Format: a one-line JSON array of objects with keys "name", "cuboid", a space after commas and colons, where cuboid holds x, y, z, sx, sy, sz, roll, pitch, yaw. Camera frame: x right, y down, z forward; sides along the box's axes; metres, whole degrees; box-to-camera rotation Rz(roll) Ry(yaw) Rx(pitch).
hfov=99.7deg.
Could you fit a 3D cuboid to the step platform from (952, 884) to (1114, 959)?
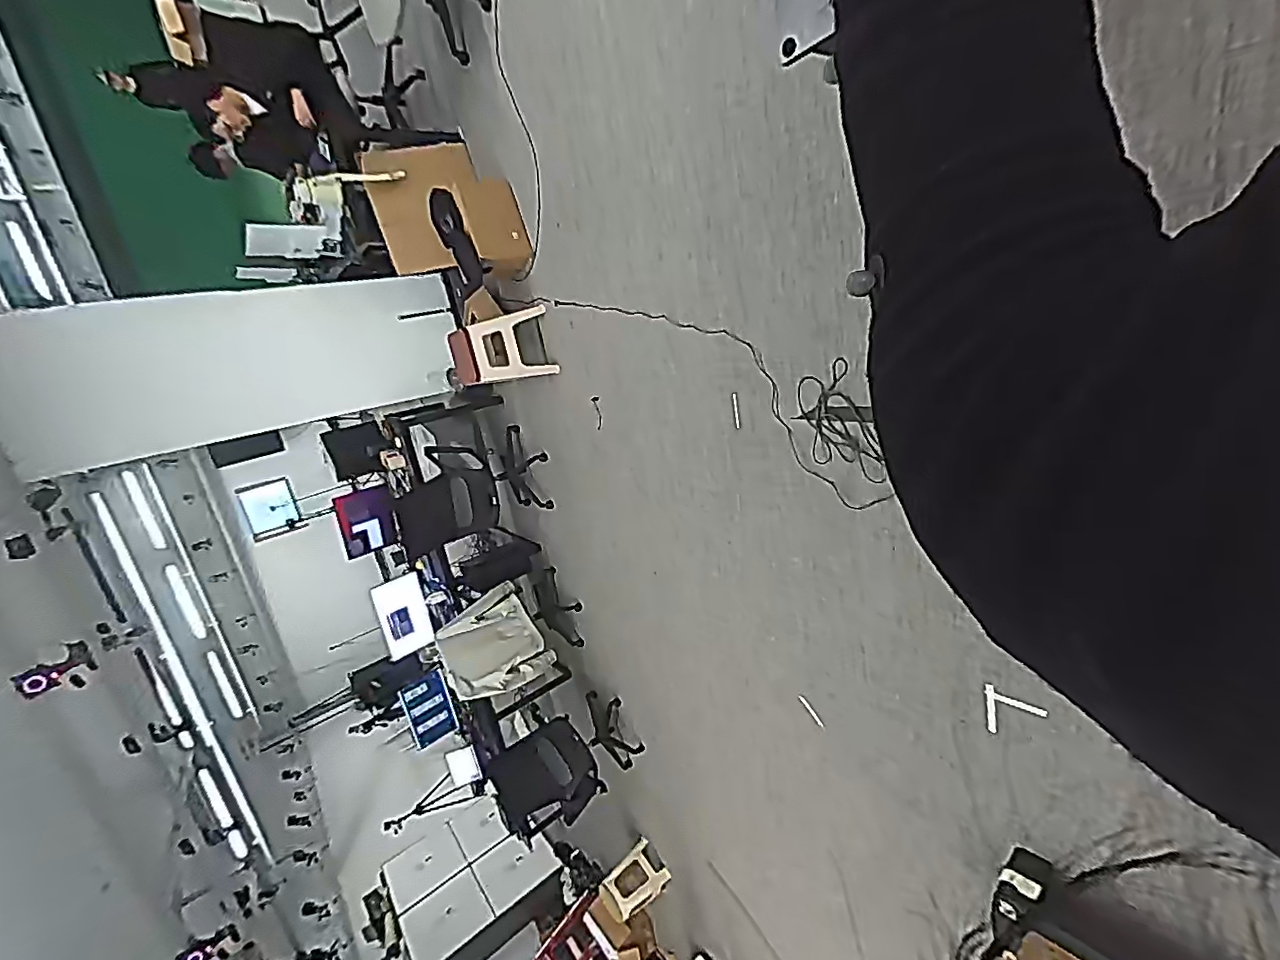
[{"name": "step platform", "cuboid": [1.185, 1.380, 1.351, 0.684, 0.204, 0.286, 9, 116, 54]}]
